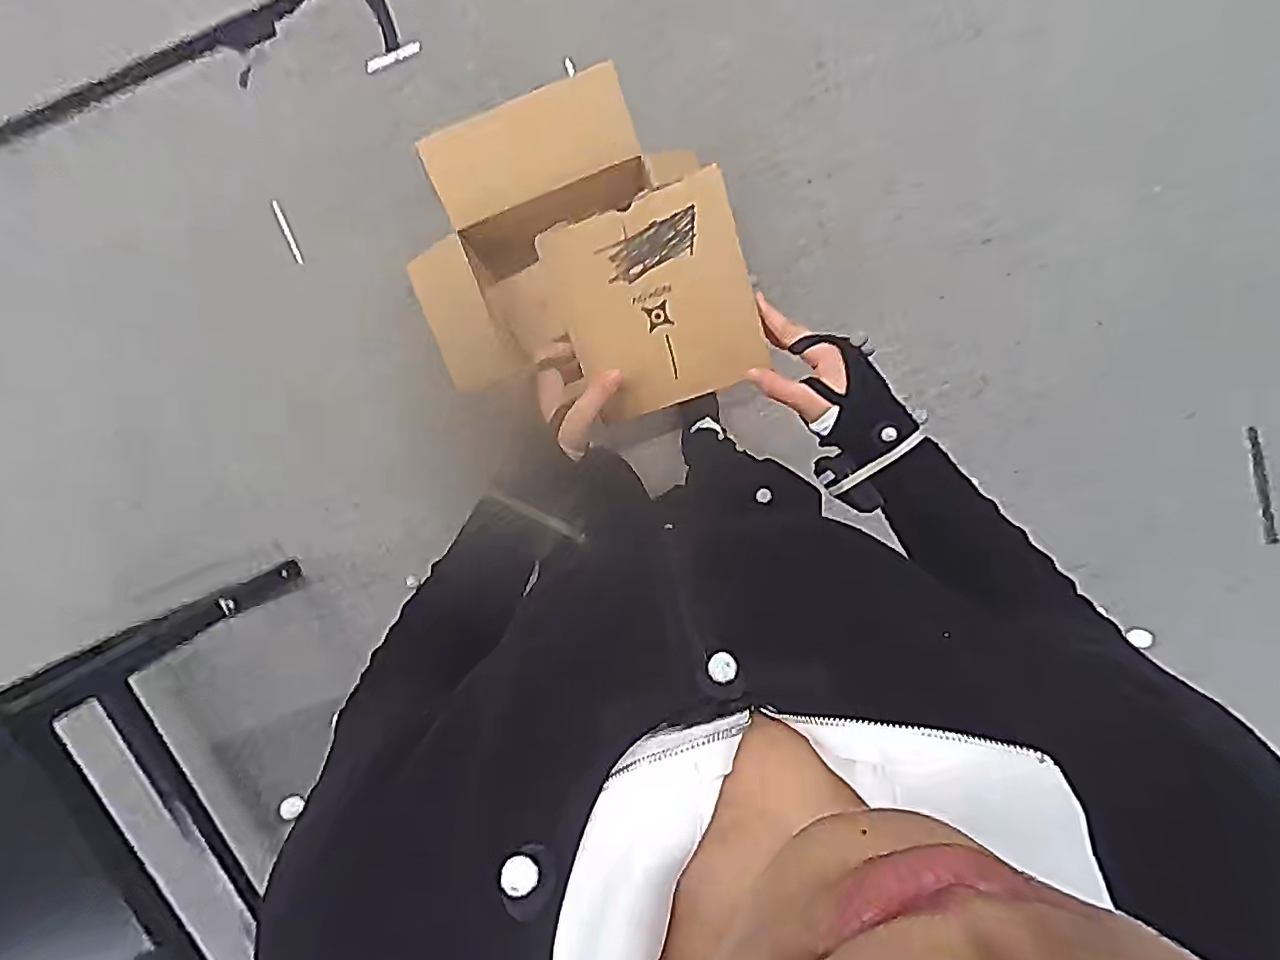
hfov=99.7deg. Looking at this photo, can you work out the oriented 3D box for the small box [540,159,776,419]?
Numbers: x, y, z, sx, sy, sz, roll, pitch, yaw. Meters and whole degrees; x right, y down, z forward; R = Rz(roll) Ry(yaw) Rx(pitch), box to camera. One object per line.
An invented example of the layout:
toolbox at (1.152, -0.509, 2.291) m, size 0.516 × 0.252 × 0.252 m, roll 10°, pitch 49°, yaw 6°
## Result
small box at (0.023, -0.180, 0.543) m, size 0.168 × 0.176 × 0.179 m, roll -17°, pitch 106°, yaw 11°
